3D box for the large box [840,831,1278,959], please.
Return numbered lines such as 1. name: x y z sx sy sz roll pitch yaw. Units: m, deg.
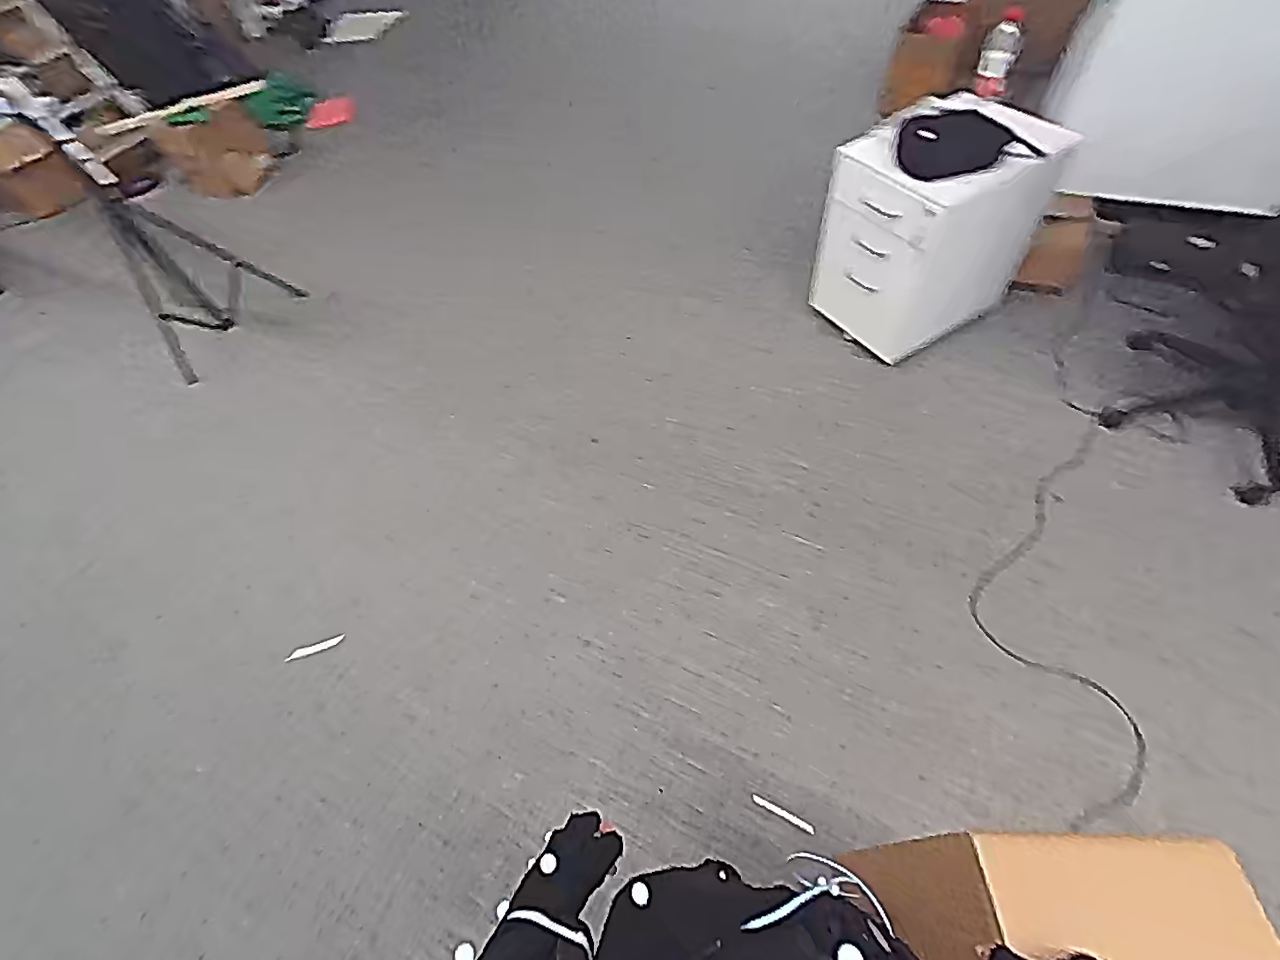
1. large box: 0.501 0.648 0.677 0.320 0.408 0.320 4 52 -2
